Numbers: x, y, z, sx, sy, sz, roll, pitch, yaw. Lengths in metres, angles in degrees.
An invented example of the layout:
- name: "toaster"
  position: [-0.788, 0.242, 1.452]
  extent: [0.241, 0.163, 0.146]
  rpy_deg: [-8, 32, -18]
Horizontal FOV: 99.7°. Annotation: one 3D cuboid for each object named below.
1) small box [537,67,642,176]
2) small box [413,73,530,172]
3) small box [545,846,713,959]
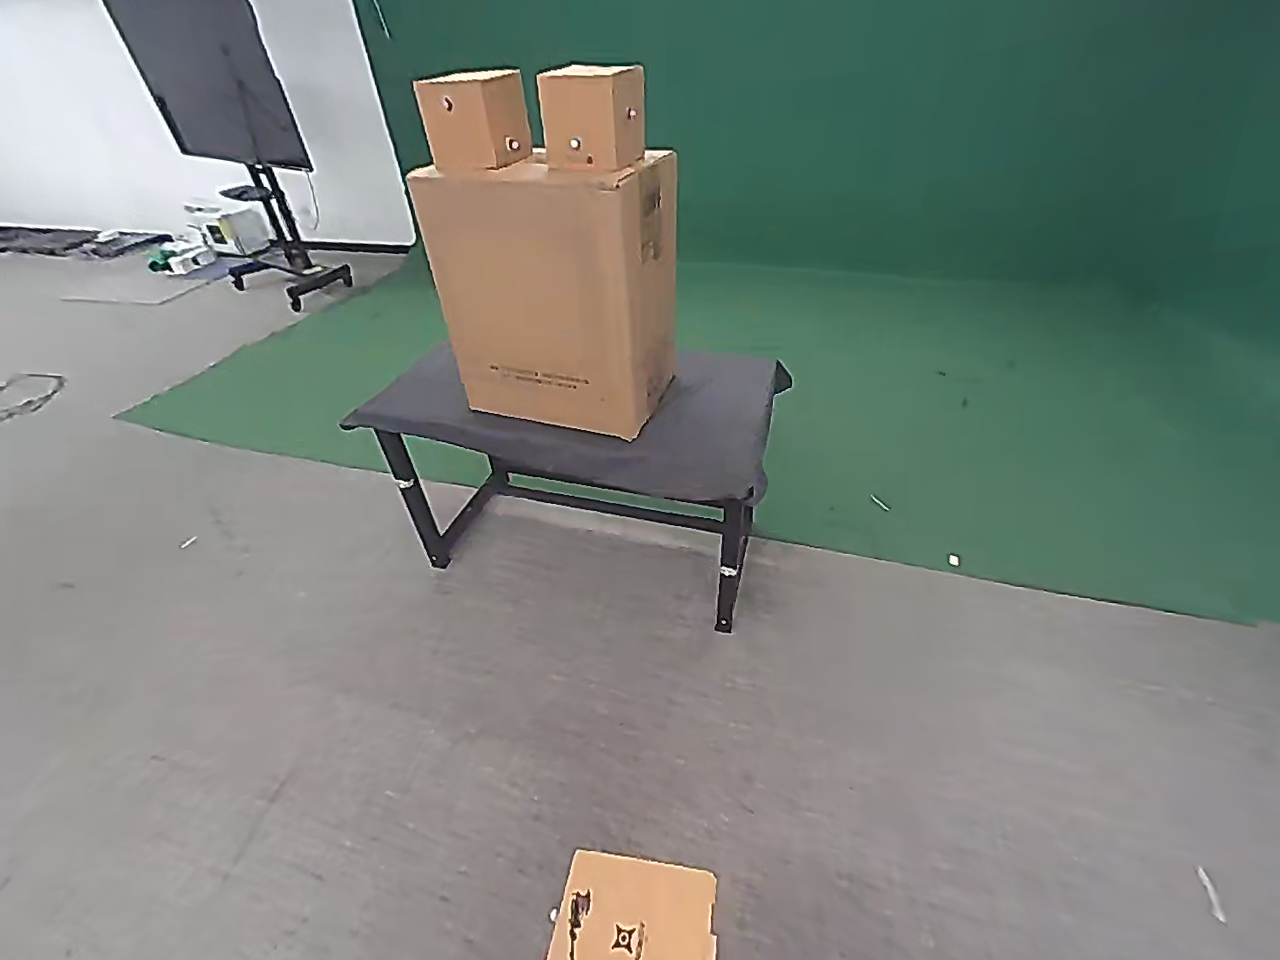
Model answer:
- name: "small box"
  position: [-0.102, -0.774, 1.164]
  extent: [0.168, 0.176, 0.179]
  rpy_deg: [13, 44, 16]
- name: "small box"
  position: [-0.376, -0.818, 1.239]
  extent: [0.179, 0.176, 0.168]
  rpy_deg: [13, 45, 16]
- name: "small box"
  position: [-0.010, 0.573, 0.633]
  extent: [0.179, 0.176, 0.168]
  rpy_deg: [4, 29, 9]
